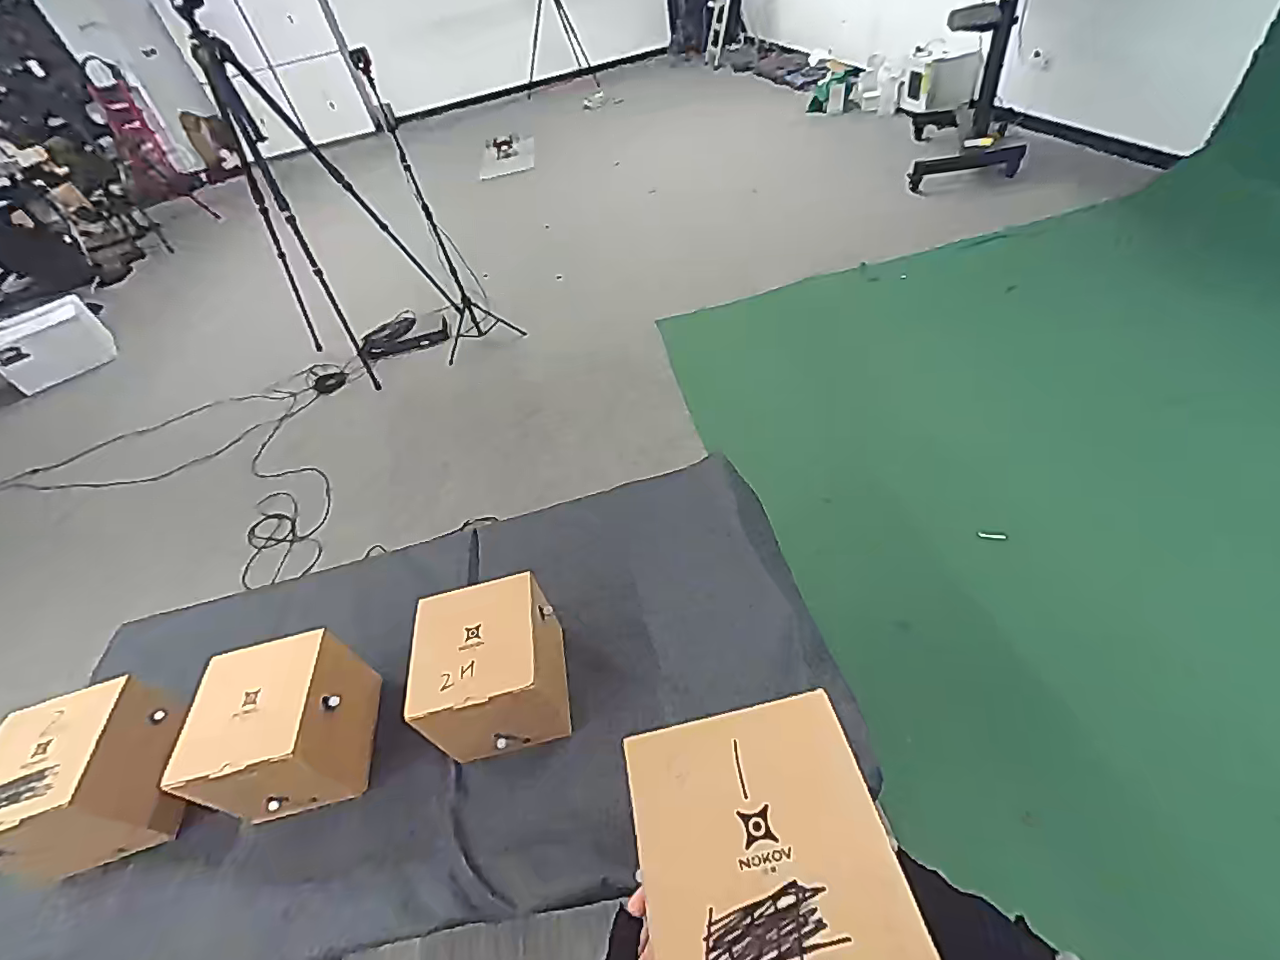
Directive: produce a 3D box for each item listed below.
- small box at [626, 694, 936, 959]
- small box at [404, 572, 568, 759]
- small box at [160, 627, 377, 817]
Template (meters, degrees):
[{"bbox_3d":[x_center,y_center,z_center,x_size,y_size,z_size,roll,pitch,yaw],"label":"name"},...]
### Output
[{"bbox_3d":[0.095,0.299,0.421,0.168,0.176,0.179,-14,45,0],"label":"small box"},{"bbox_3d":[-0.205,0.262,0.763,0.168,0.176,0.179,-14,45,0],"label":"small box"},{"bbox_3d":[-0.494,0.339,0.757,0.168,0.176,0.179,-14,46,-1],"label":"small box"}]
